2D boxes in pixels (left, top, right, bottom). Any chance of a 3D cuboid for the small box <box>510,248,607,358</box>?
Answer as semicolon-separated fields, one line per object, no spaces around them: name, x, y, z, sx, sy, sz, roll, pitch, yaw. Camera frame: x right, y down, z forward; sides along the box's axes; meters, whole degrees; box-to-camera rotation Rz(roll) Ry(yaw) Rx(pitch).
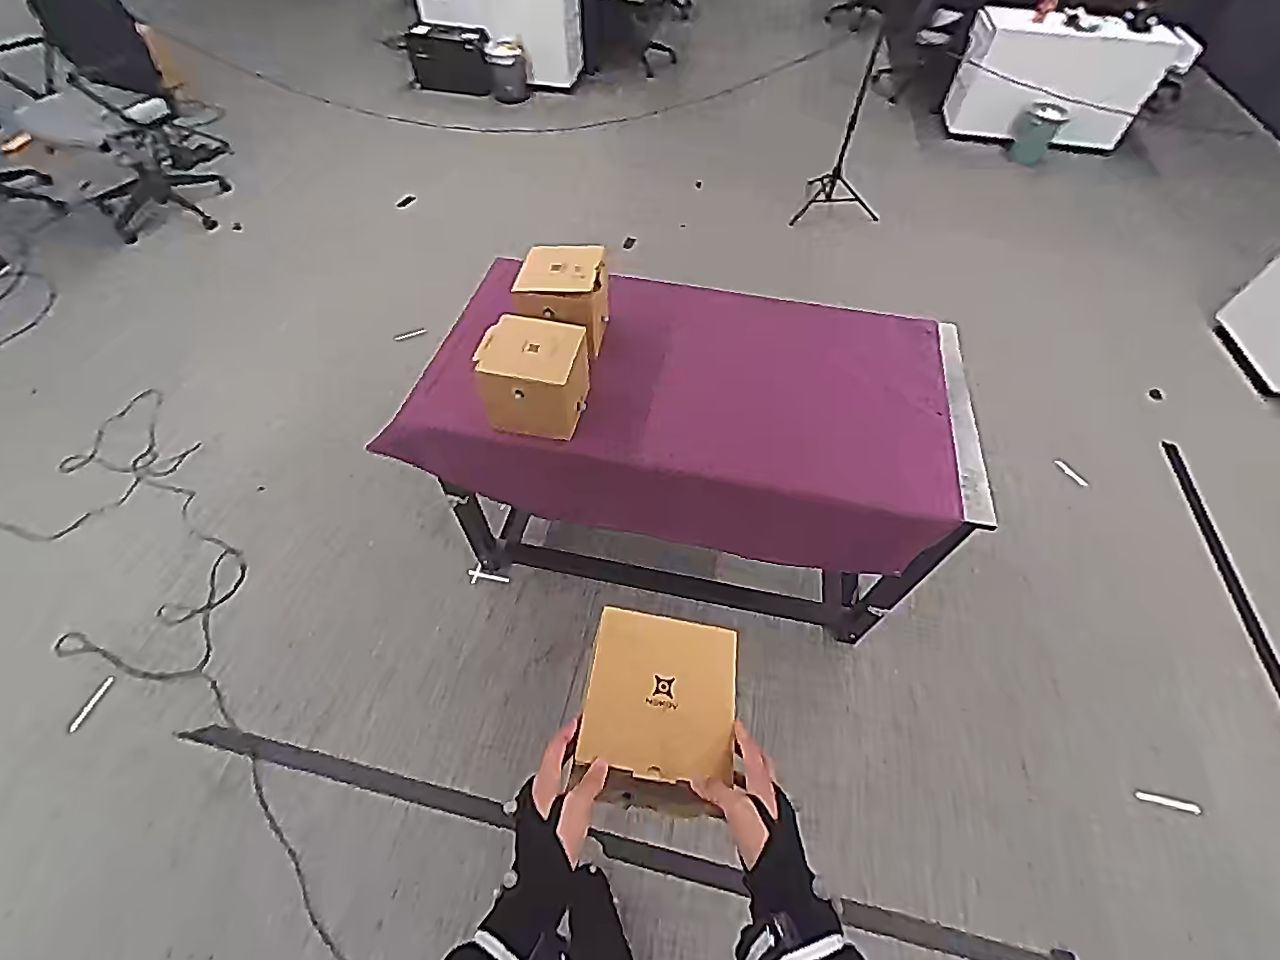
small box;-0.175;-0.398;1.230;0.179;0.176;0.168;9;56;3

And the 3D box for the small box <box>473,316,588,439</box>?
small box;-0.210;-0.202;1.092;0.179;0.176;0.168;10;56;5
